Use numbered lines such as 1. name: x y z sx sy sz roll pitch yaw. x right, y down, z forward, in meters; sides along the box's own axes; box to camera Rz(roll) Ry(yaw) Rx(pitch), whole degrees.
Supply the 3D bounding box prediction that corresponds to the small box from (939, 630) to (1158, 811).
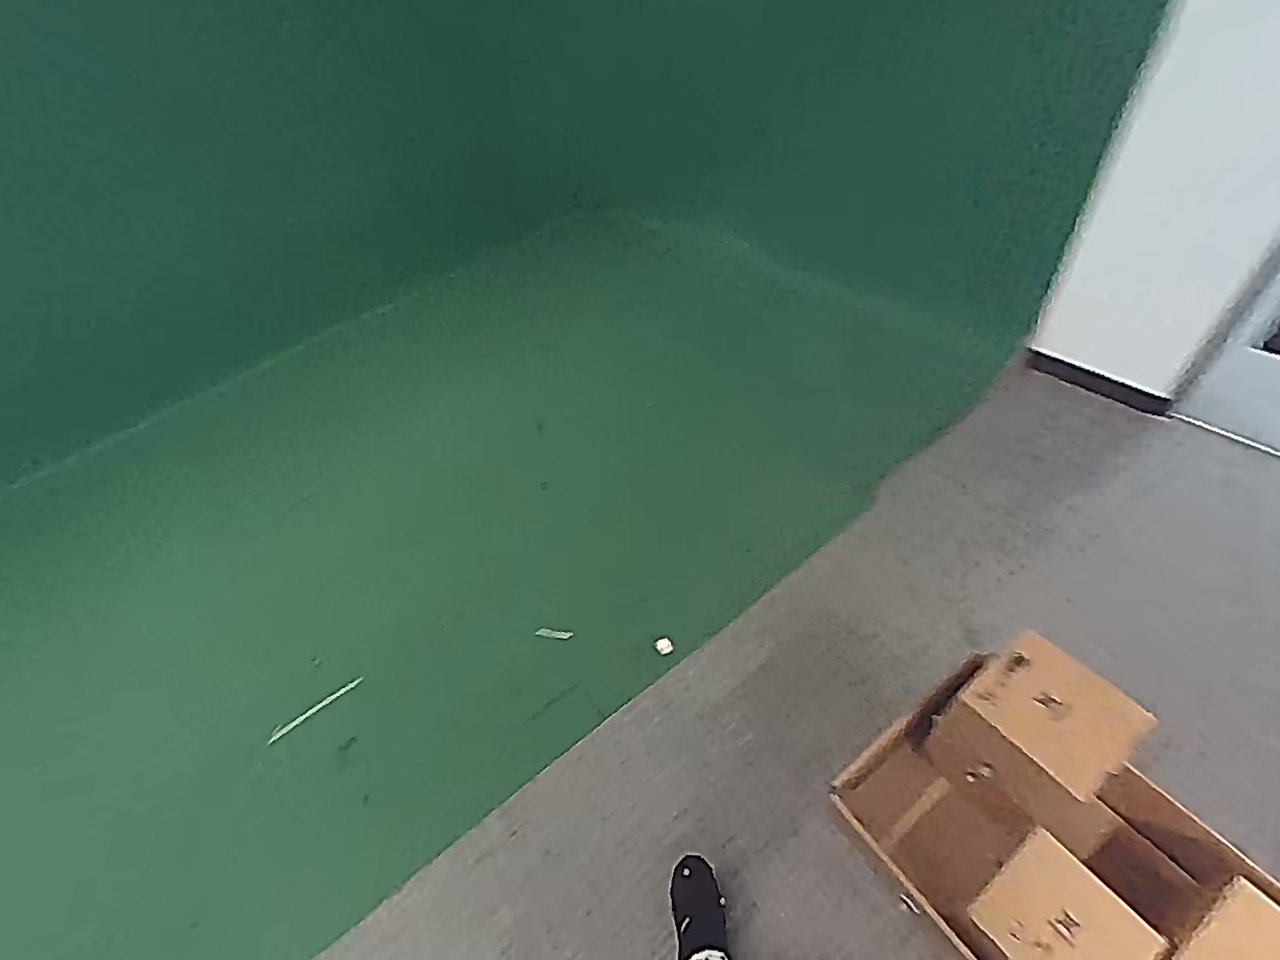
1. small box: 0.594 0.366 0.813 0.168 0.176 0.179 -33 52 -14
